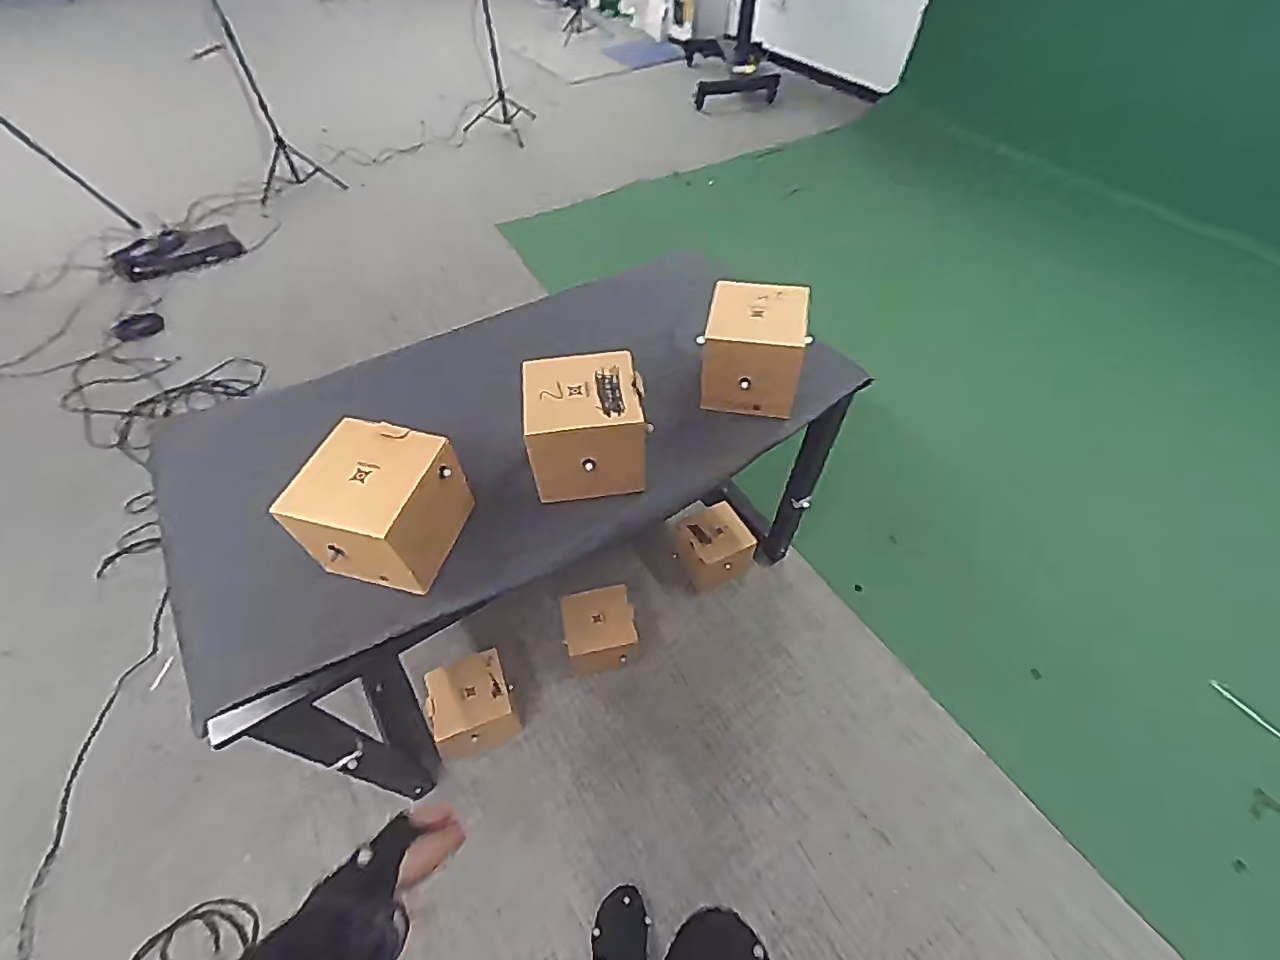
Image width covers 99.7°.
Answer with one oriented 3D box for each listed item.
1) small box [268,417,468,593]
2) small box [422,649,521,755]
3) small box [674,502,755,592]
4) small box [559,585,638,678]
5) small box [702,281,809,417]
[{"bbox_3d":[-0.370,0.040,0.780,0.168,0.176,0.179,12,53,8],"label":"small box"},{"bbox_3d":[-0.404,0.542,1.311,0.179,0.176,0.168,-18,55,-13],"label":"small box"},{"bbox_3d":[0.209,0.199,1.579,0.179,0.176,0.168,-22,56,-18],"label":"small box"},{"bbox_3d":[-0.108,0.400,1.423,0.179,0.176,0.168,-11,53,-7],"label":"small box"},{"bbox_3d":[0.208,-0.237,0.991,0.168,0.176,0.179,9,53,9],"label":"small box"}]
